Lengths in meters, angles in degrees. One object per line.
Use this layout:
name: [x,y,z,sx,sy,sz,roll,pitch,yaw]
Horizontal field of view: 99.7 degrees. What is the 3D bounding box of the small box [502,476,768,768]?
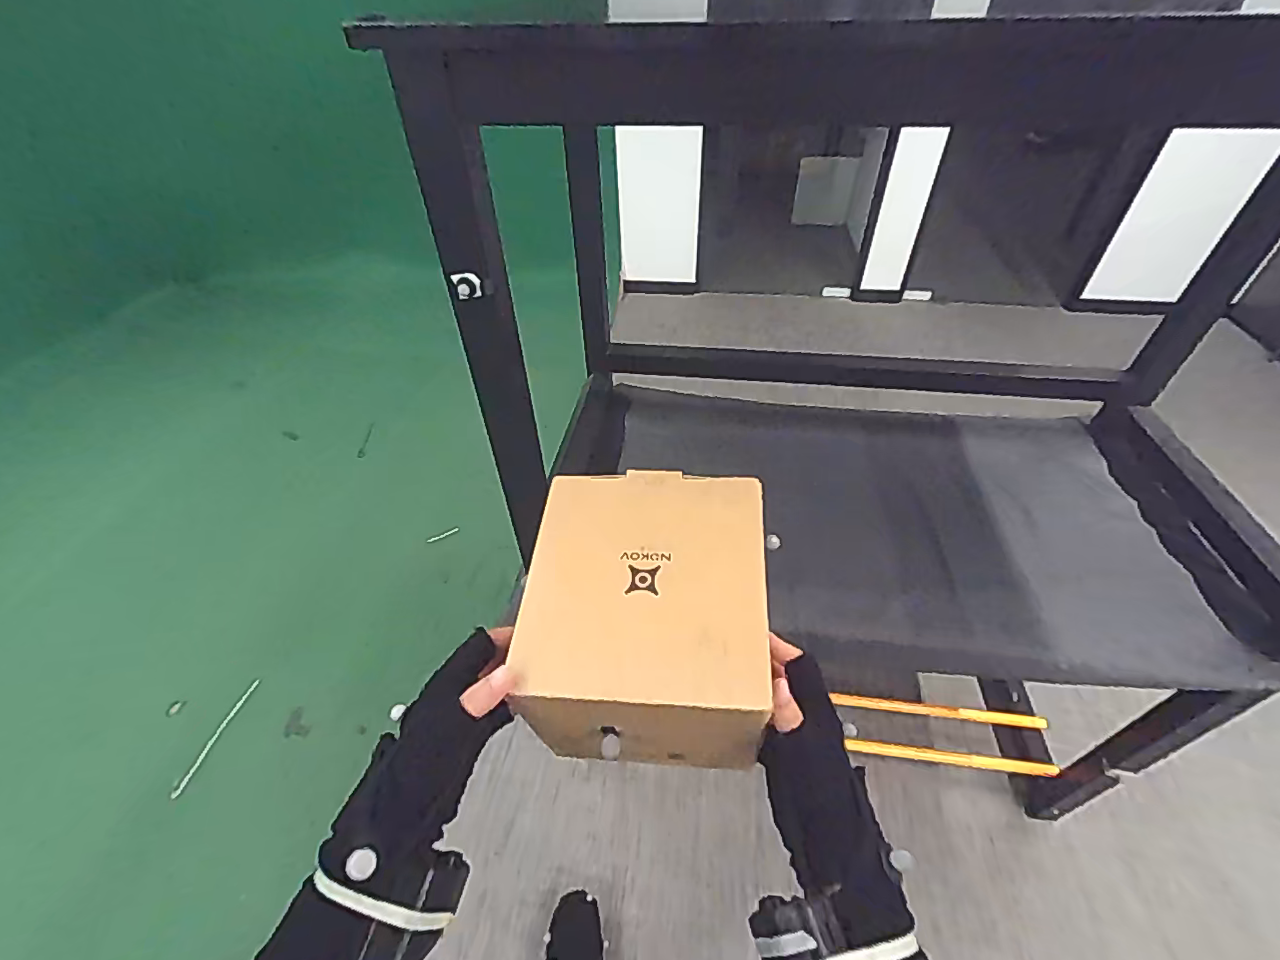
small box: [0.010,0.115,0.432,0.168,0.176,0.179,1,50,7]
